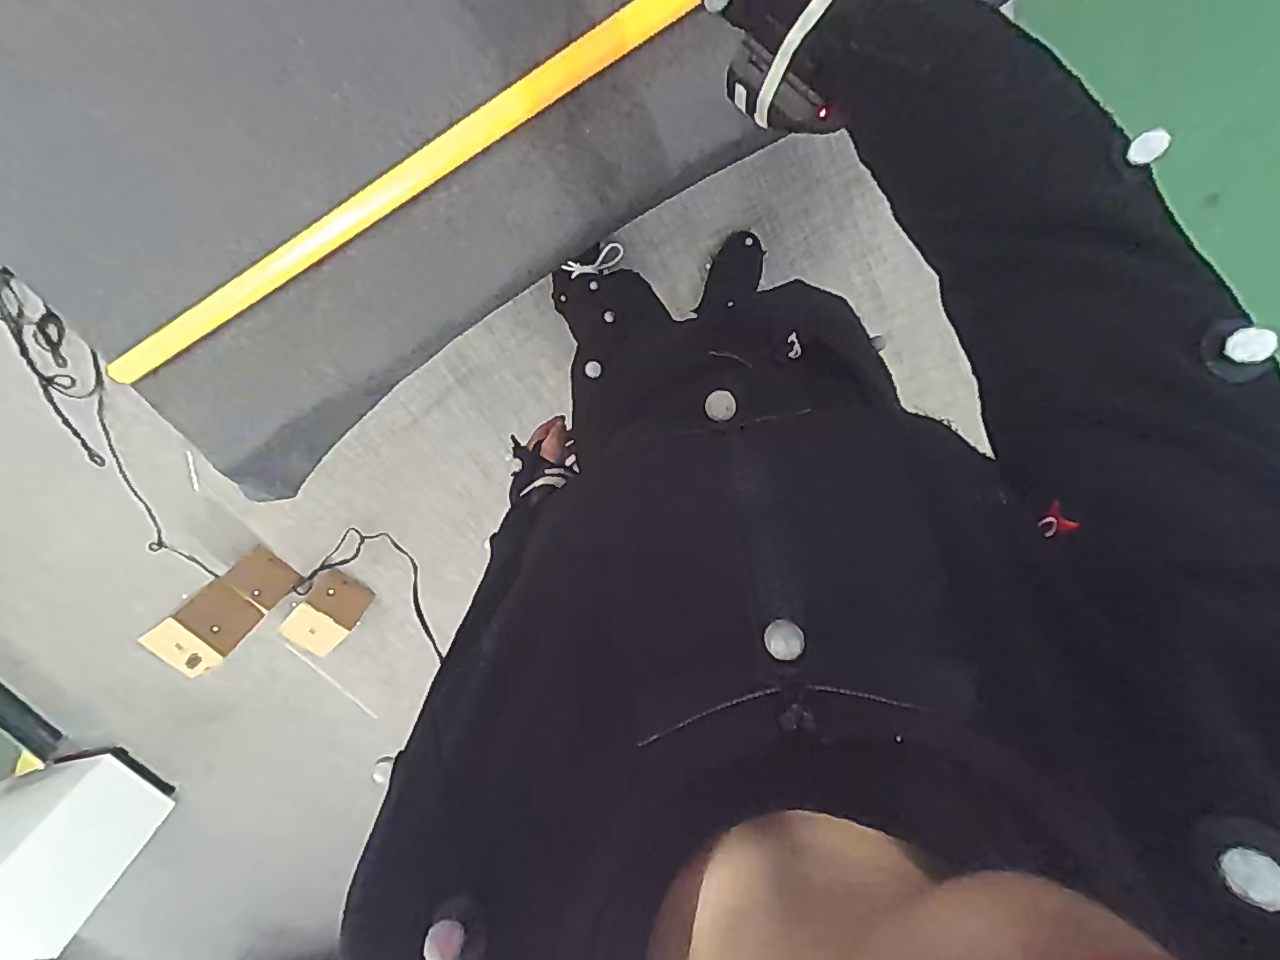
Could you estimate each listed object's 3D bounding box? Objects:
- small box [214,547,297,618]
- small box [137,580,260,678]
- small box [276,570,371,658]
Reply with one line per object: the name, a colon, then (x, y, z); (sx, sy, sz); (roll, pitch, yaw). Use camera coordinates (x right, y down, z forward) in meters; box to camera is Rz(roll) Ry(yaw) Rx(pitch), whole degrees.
small box: (-1.214, 0.341, 1.673); (0.179, 0.176, 0.168); (-34, 112, 21)
small box: (-1.235, 0.418, 1.528); (0.168, 0.176, 0.179); (-29, 113, 18)
small box: (-0.986, 0.419, 1.705); (0.168, 0.176, 0.179); (42, 115, -18)
